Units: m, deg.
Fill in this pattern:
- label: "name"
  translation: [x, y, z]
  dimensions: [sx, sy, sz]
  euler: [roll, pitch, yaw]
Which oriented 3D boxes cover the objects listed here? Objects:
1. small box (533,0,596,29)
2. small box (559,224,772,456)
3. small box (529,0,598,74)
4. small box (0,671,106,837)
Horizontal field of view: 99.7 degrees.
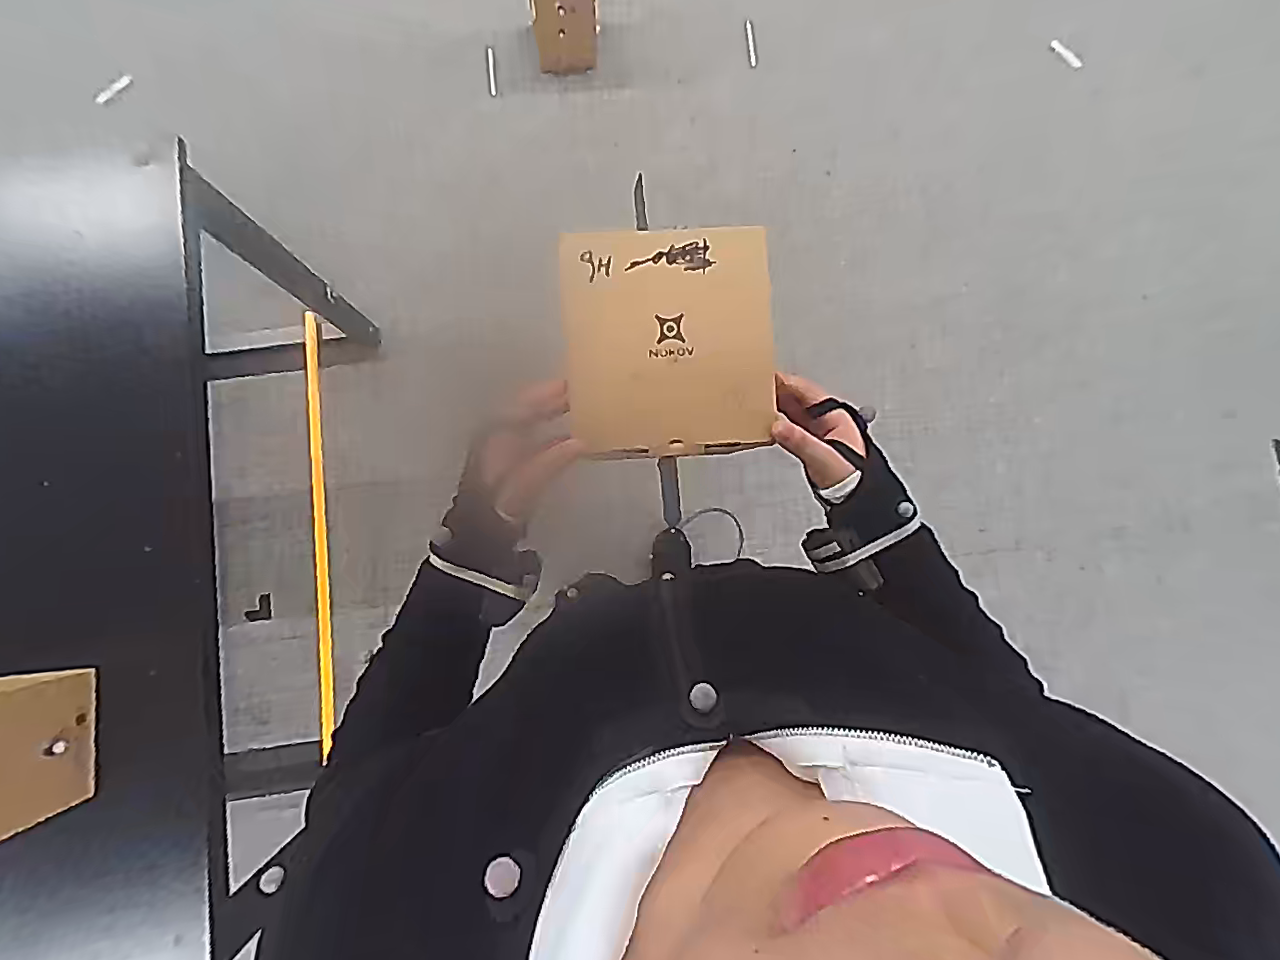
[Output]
- label: "small box"
  translation: [-0.211, -1.337, 1.410]
  dimensions: [0.168, 0.176, 0.179]
  euler: [-10, 86, -2]
- label: "small box"
  translation: [0.019, -0.113, 0.508]
  dimensions: [0.168, 0.176, 0.179]
  euler: [-4, 90, -2]
- label: "small box"
  translation: [-0.221, -1.322, 1.571]
  dimensions: [0.179, 0.176, 0.168]
  euler: [-8, 85, -4]
- label: "small box"
  translation: [-0.803, 0.335, 0.641]
  dimensions: [0.179, 0.176, 0.168]
  euler: [-5, 84, -2]
